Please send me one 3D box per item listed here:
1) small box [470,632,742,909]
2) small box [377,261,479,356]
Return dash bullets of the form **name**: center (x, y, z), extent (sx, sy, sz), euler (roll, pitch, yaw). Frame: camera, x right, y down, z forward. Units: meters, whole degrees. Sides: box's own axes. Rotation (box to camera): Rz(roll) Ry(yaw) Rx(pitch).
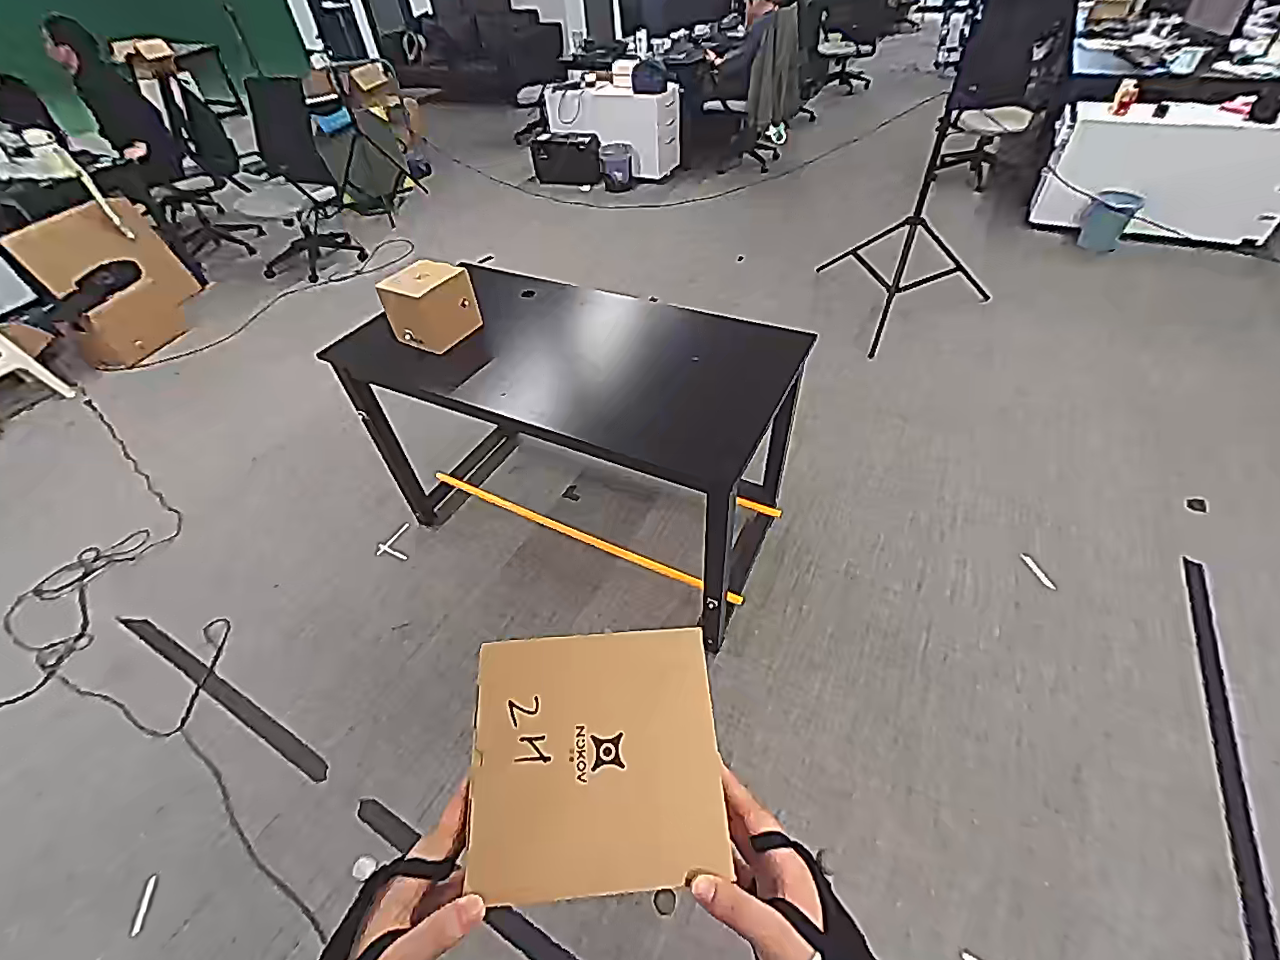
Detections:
- **small box**: center (-0.028, 0.234, 0.450), extent (0.179, 0.176, 0.168), euler (-4, 59, -3)
- **small box**: center (-0.558, -0.463, 1.456), extent (0.168, 0.176, 0.179), euler (19, 51, 23)
